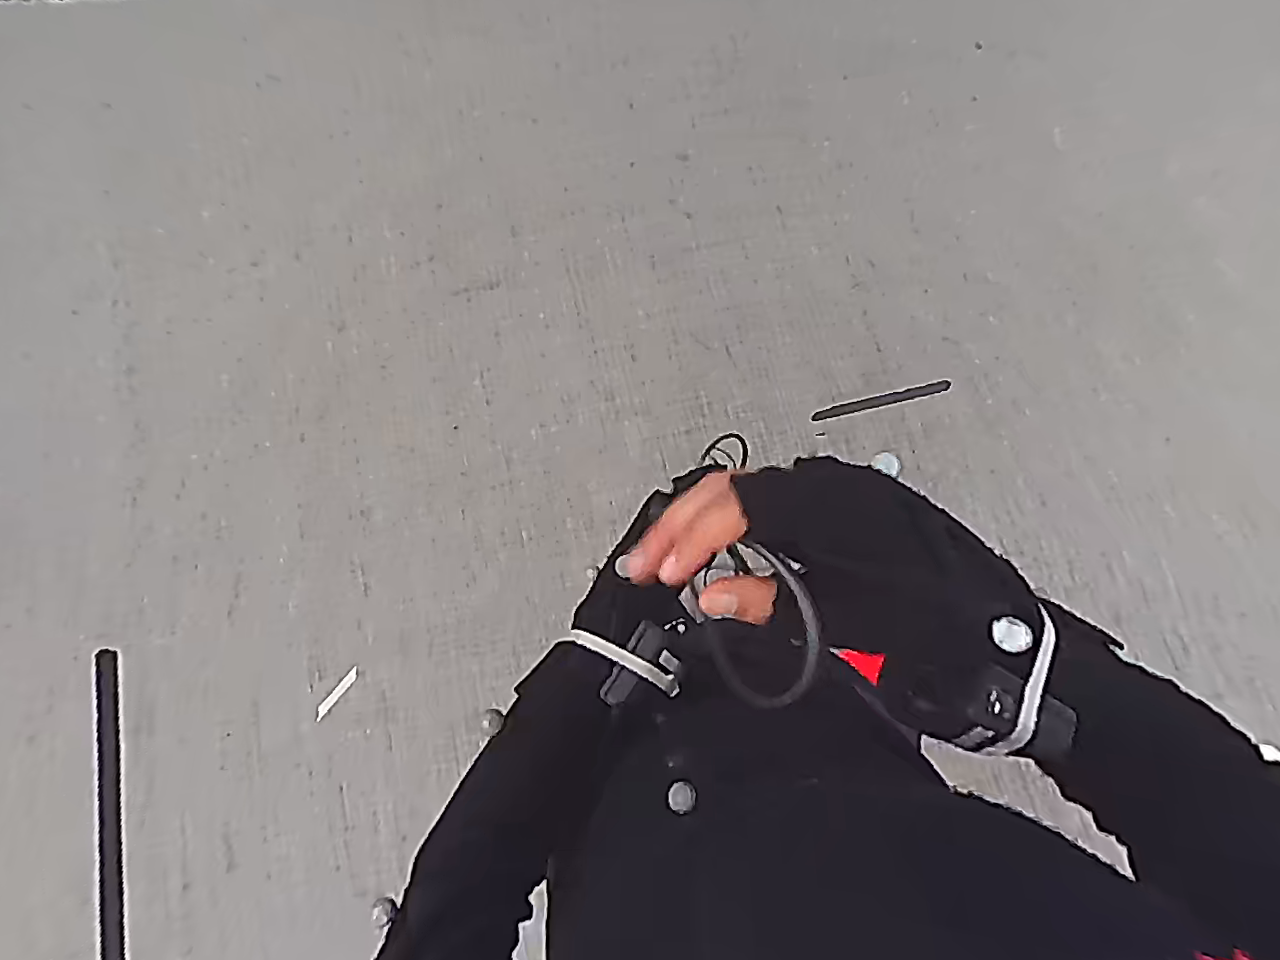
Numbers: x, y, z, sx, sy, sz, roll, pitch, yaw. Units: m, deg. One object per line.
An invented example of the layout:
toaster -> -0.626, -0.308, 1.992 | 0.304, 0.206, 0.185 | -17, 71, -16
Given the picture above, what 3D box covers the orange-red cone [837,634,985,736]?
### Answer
orange-red cone -> 0.581, 0.447, 1.108 | 0.199, 0.360, 0.198 | -17, 79, -3
